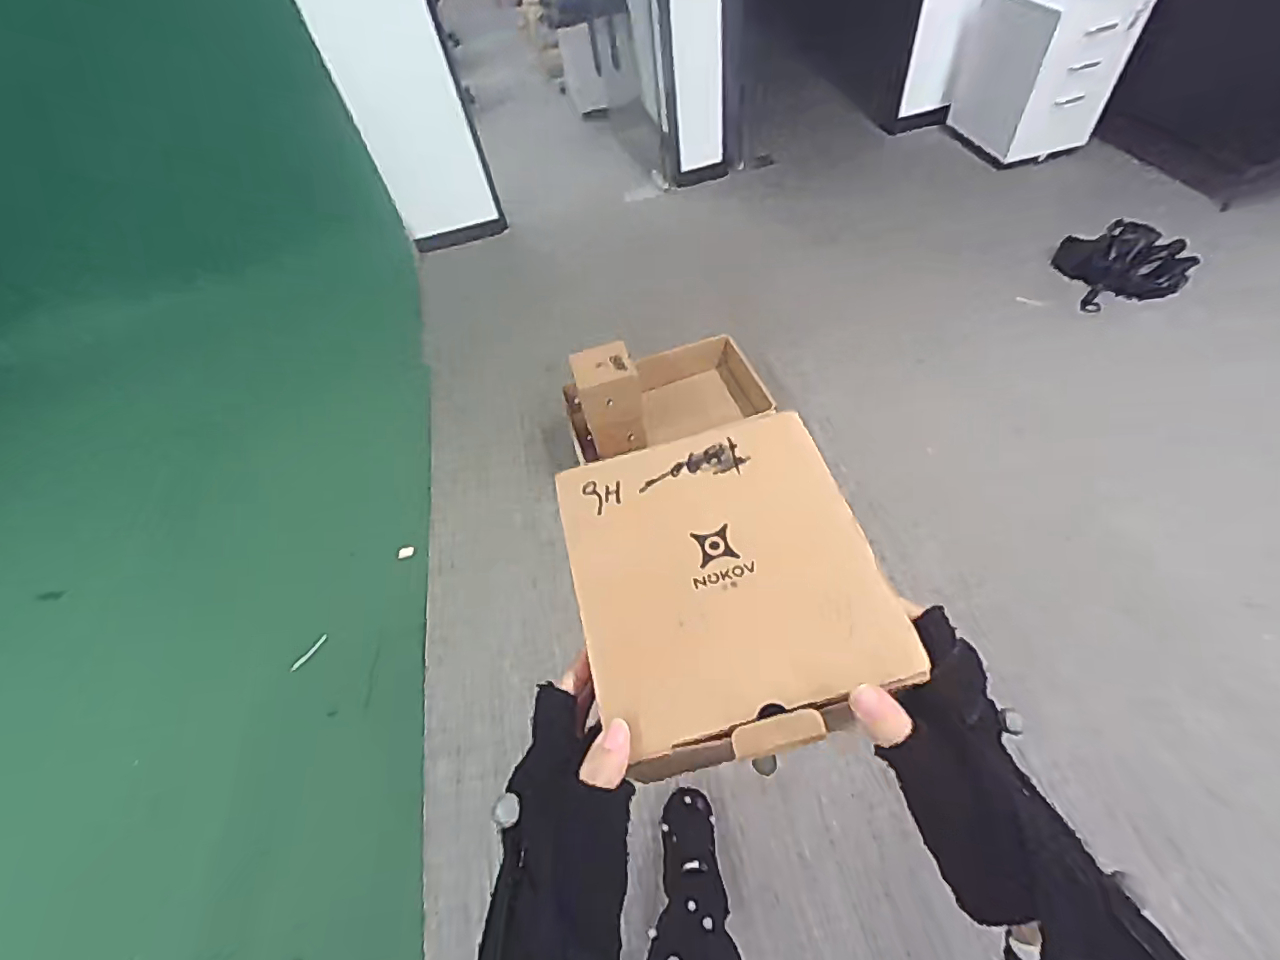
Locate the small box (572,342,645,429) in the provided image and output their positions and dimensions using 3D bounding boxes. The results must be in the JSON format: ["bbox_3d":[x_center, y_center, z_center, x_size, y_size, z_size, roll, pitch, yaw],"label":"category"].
[{"bbox_3d":[-0.090,-0.281,1.628,0.179,0.176,0.168,-18,52,-3],"label":"small box"}]

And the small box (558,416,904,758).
[{"bbox_3d":[0.052,0.088,0.391,0.168,0.176,0.179,-16,59,-1],"label":"small box"}]
